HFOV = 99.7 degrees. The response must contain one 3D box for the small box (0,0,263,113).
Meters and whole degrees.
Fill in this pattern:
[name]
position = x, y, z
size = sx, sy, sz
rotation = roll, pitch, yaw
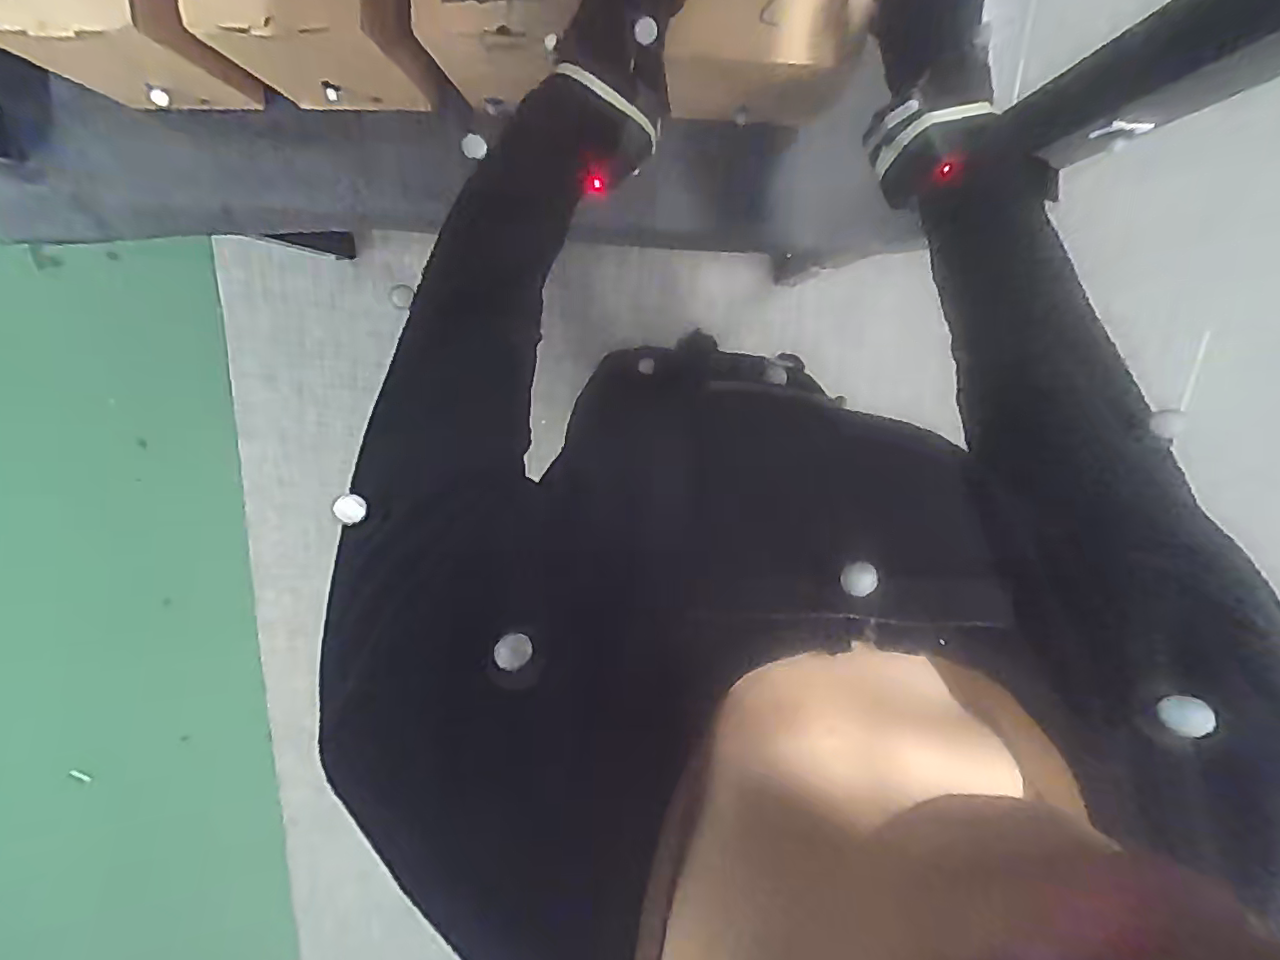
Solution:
[small box]
position = -0.526, -0.507, 0.548
size = 0.168, 0.176, 0.179
rotation = 1, 104, 2
